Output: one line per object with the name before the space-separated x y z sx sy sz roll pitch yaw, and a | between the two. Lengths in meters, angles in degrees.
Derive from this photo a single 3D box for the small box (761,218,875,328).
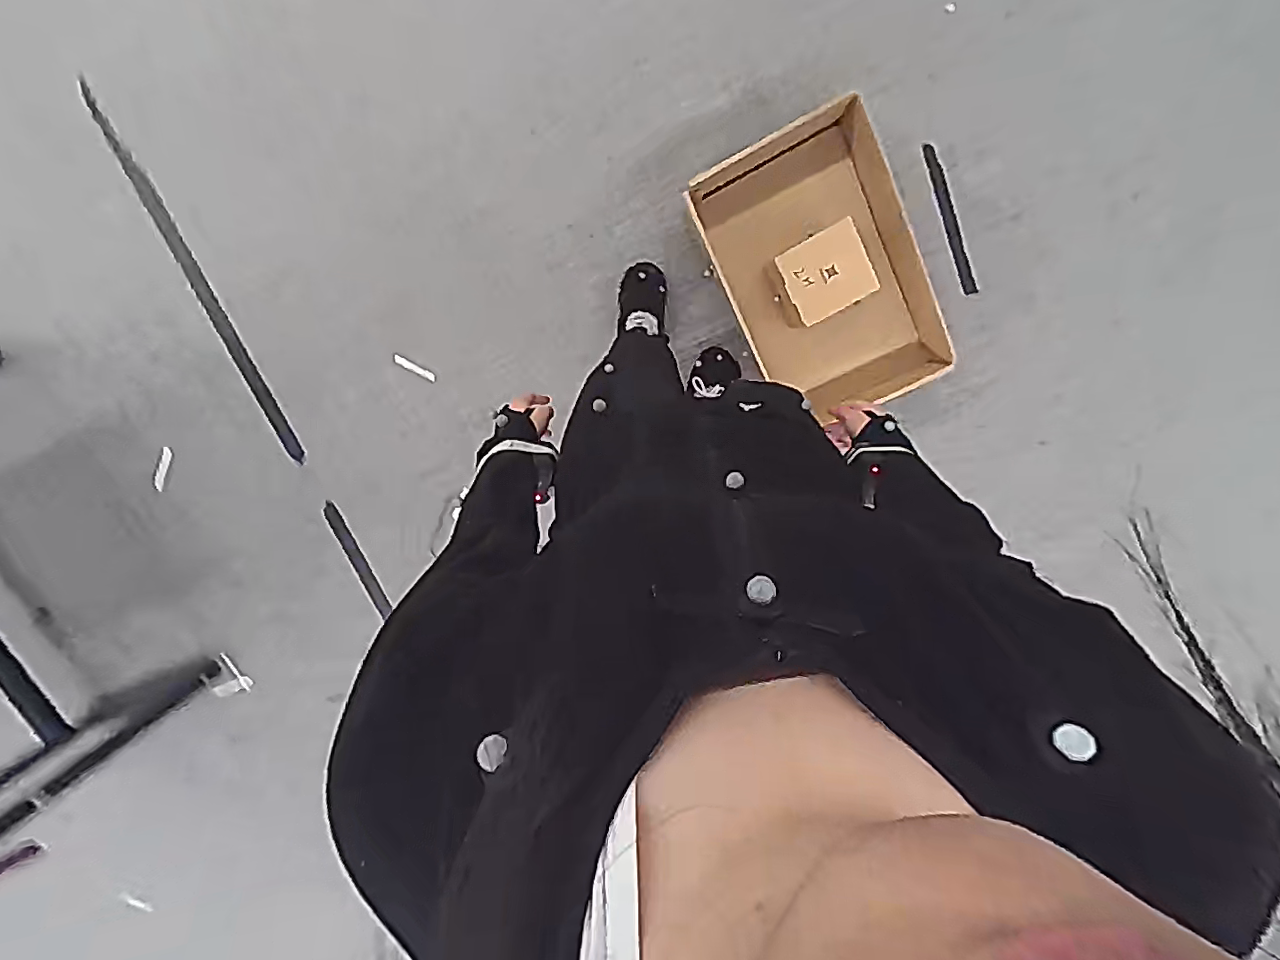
small box | 0.395 -0.461 1.227 0.179 0.176 0.168 -27 102 10
